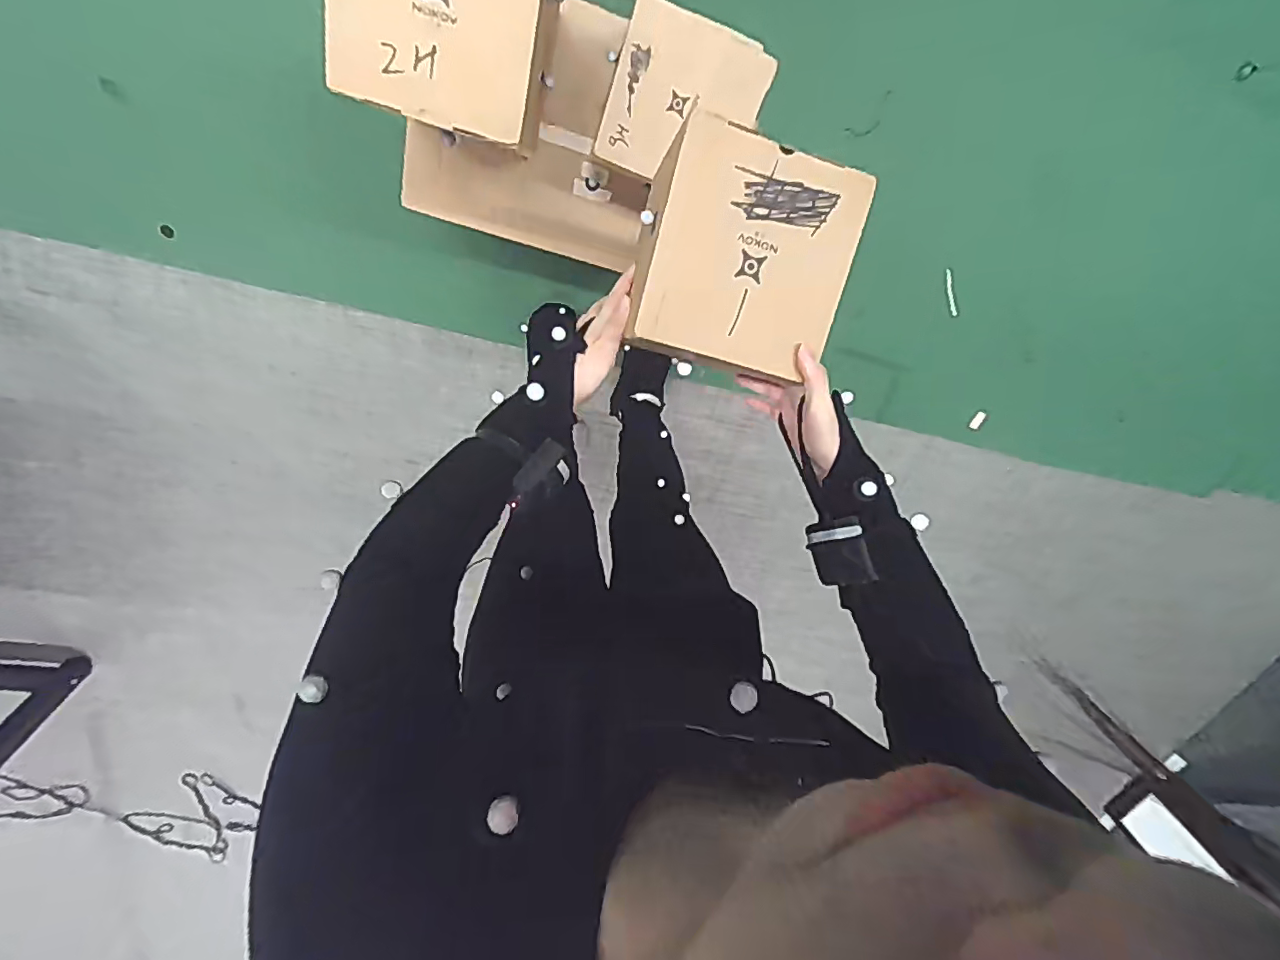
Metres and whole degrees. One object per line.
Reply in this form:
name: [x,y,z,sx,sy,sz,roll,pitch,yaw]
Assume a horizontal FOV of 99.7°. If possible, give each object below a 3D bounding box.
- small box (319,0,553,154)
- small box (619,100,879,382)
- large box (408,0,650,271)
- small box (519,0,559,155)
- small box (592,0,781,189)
small box: [-0.175,-0.426,0.502,0.168,0.176,0.179,11,117,-13]
small box: [0.082,-0.201,0.508,0.168,0.176,0.179,13,101,-10]
large box: [-0.132,-0.566,0.899,0.408,0.320,0.320,11,118,-14]
small box: [-0.194,-0.510,0.643,0.168,0.176,0.179,11,117,-14]
small box: [0.045,-0.466,0.694,0.179,0.176,0.168,16,115,-15]
